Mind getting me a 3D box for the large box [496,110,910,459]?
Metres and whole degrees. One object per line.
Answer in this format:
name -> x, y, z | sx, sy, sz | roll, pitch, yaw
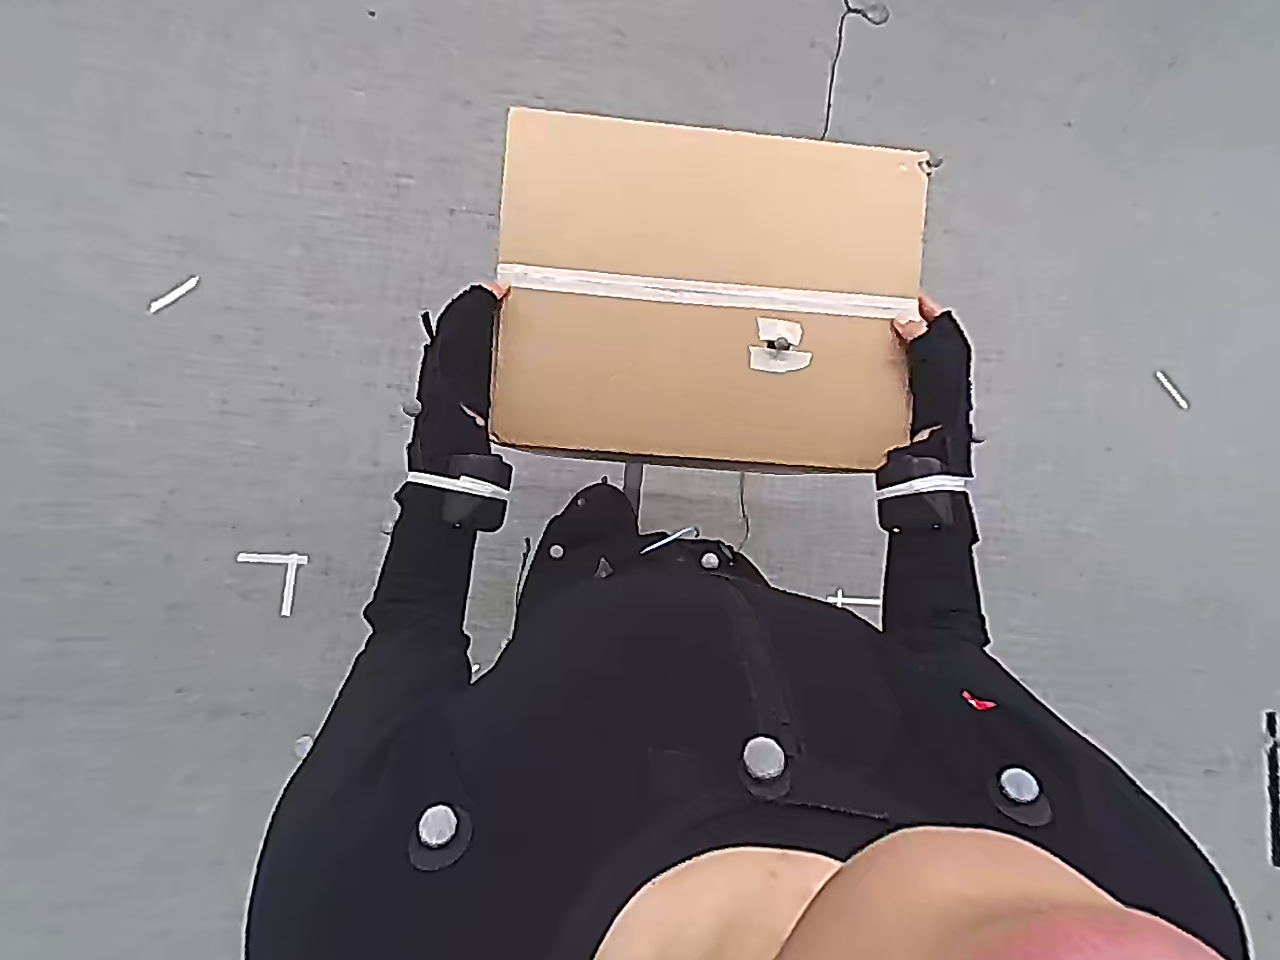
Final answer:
large box -> 0.054, -0.193, 0.678 | 0.408, 0.320, 0.320 | 4, 92, -4
